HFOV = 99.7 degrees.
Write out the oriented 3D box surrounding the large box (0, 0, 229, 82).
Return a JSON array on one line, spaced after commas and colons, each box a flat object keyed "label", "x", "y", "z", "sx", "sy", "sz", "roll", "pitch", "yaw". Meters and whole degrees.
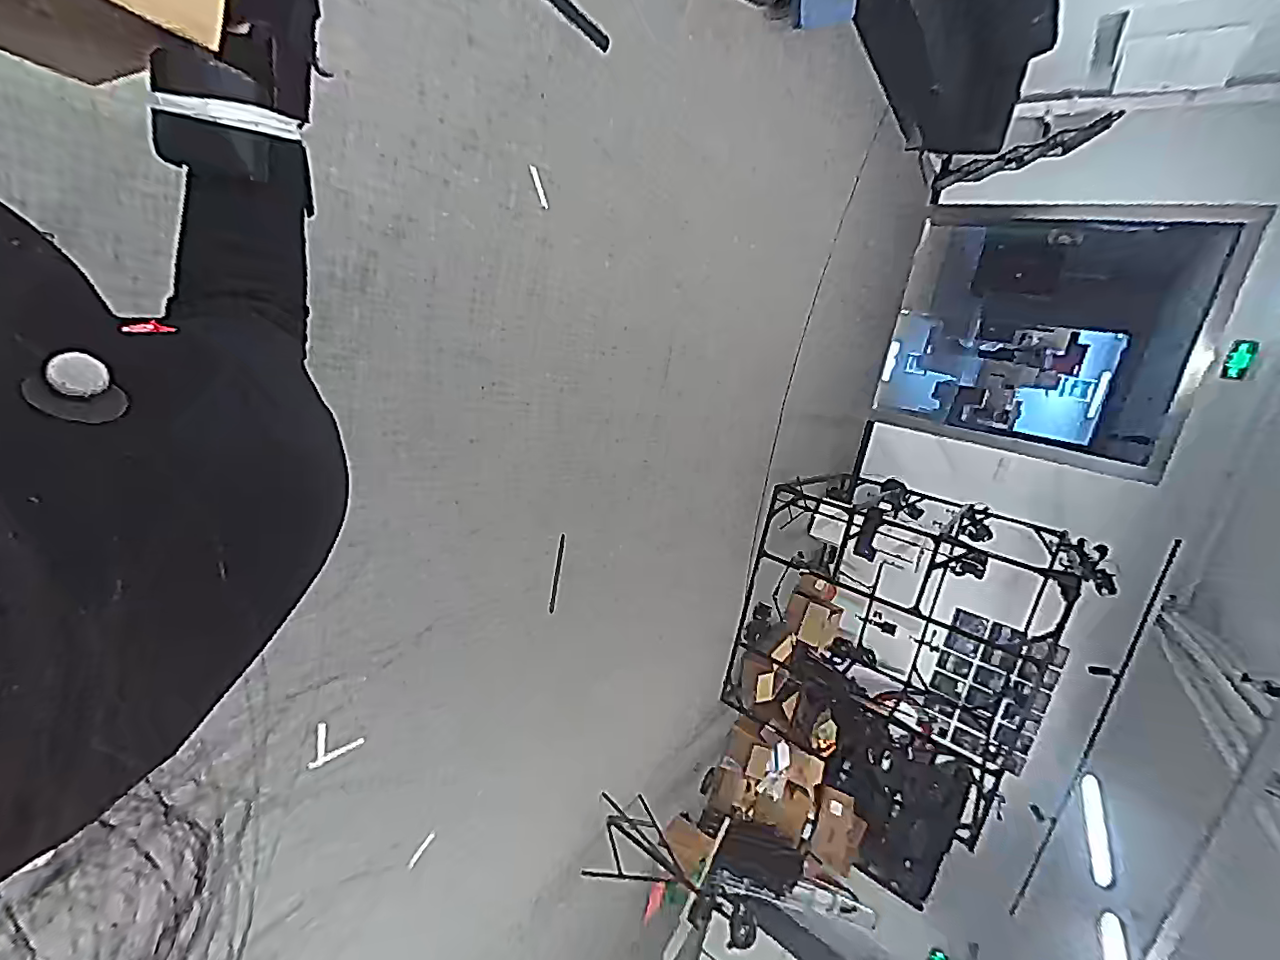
[{"label": "large box", "x": -0.456, "y": -0.444, "z": 0.220, "sx": 0.408, "sy": 0.320, "sz": 0.320, "roll": -4, "pitch": 114, "yaw": -55}]
